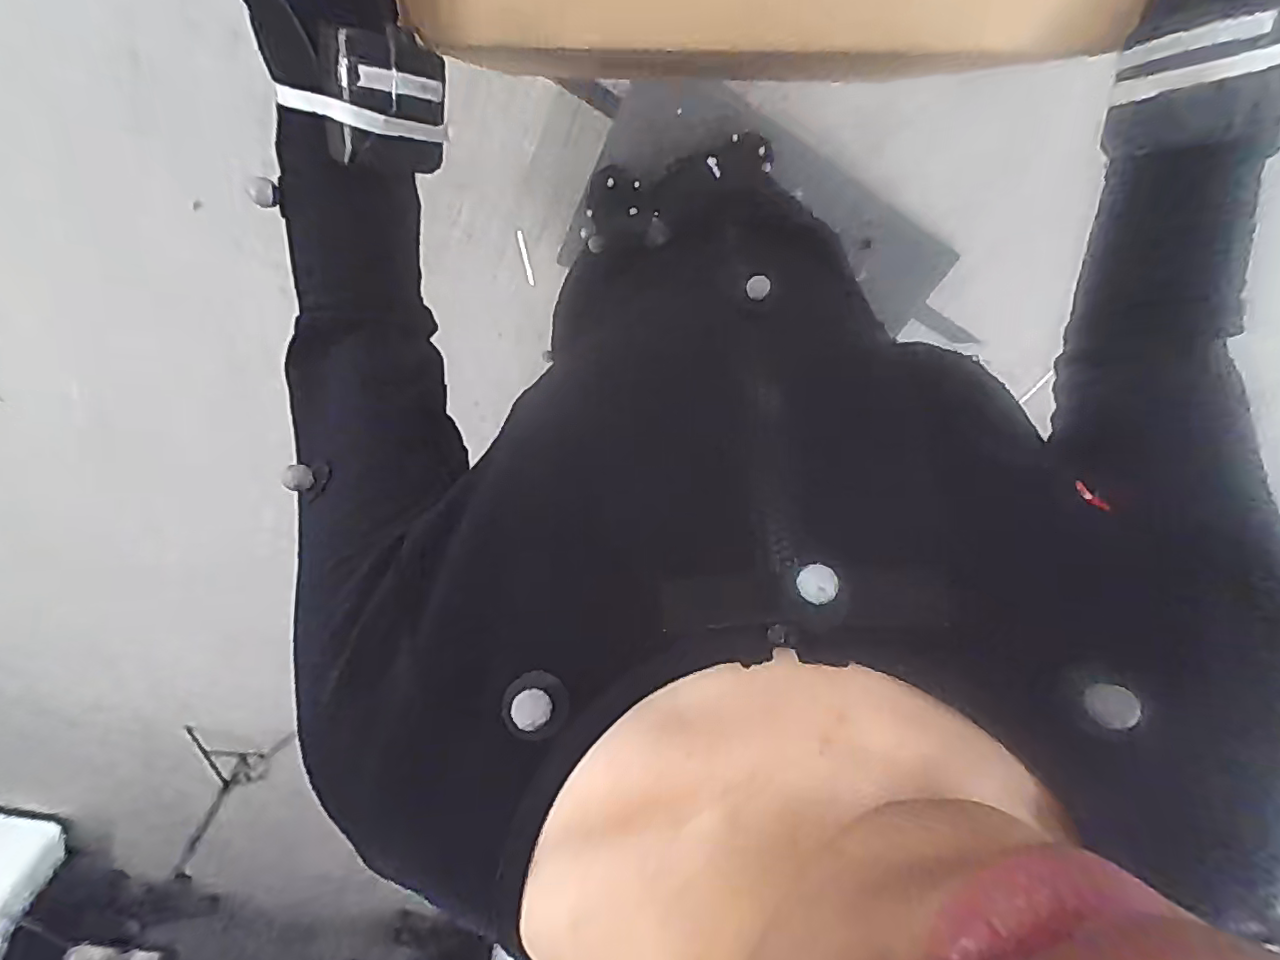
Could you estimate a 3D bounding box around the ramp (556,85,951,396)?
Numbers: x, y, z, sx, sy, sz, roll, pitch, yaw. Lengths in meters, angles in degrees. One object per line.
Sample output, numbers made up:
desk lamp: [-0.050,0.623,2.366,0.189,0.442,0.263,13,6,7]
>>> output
ramp: [0.332,-0.576,1.403,0.991,0.206,0.509,21,119,-16]
